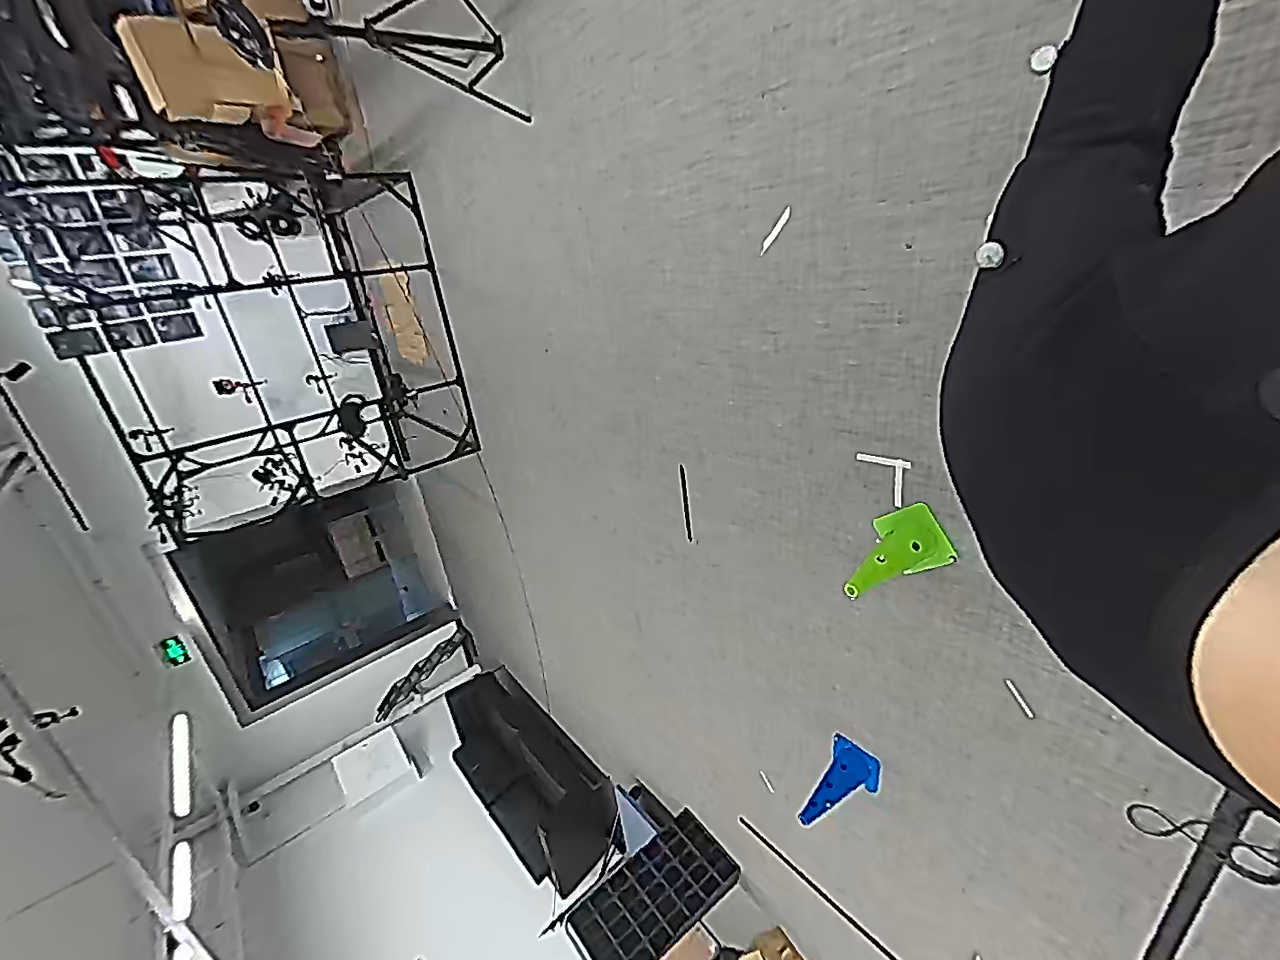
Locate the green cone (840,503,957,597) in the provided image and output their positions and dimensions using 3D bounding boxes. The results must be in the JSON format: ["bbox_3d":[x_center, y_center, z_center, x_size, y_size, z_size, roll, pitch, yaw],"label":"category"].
[{"bbox_3d":[0.710,0.238,1.576,0.200,0.368,0.202,62,148,8],"label":"green cone"}]

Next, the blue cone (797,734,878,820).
[{"bbox_3d":[0.760,1.217,2.143,0.192,0.380,0.193,26,129,47],"label":"blue cone"}]
